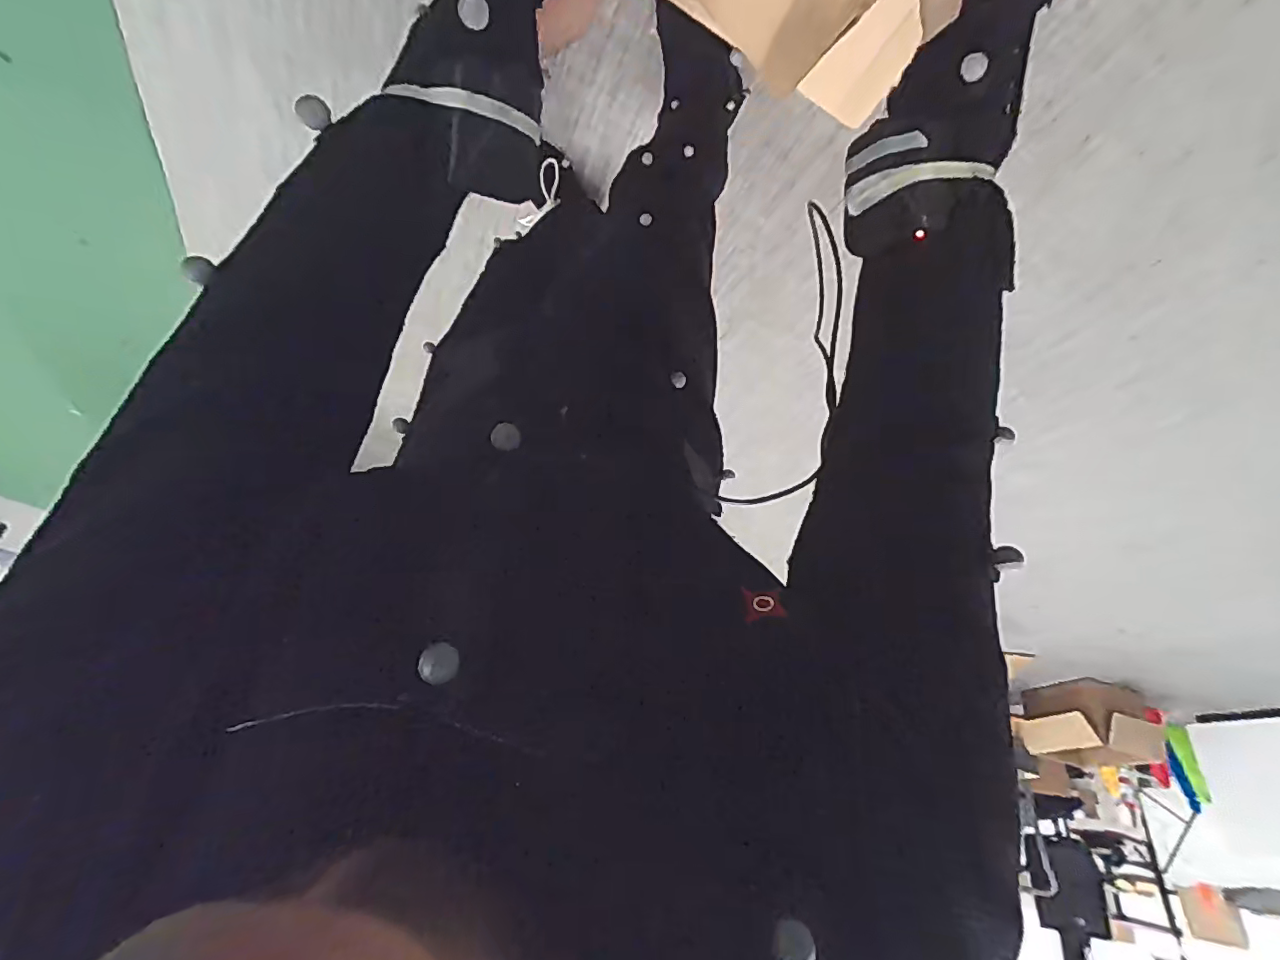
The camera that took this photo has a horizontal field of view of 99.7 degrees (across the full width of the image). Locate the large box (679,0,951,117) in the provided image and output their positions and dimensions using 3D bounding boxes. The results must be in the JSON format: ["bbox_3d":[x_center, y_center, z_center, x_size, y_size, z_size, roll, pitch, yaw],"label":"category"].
[{"bbox_3d":[0.185,-0.712,0.594,0.408,0.320,0.320,22,144,-16],"label":"large box"}]
